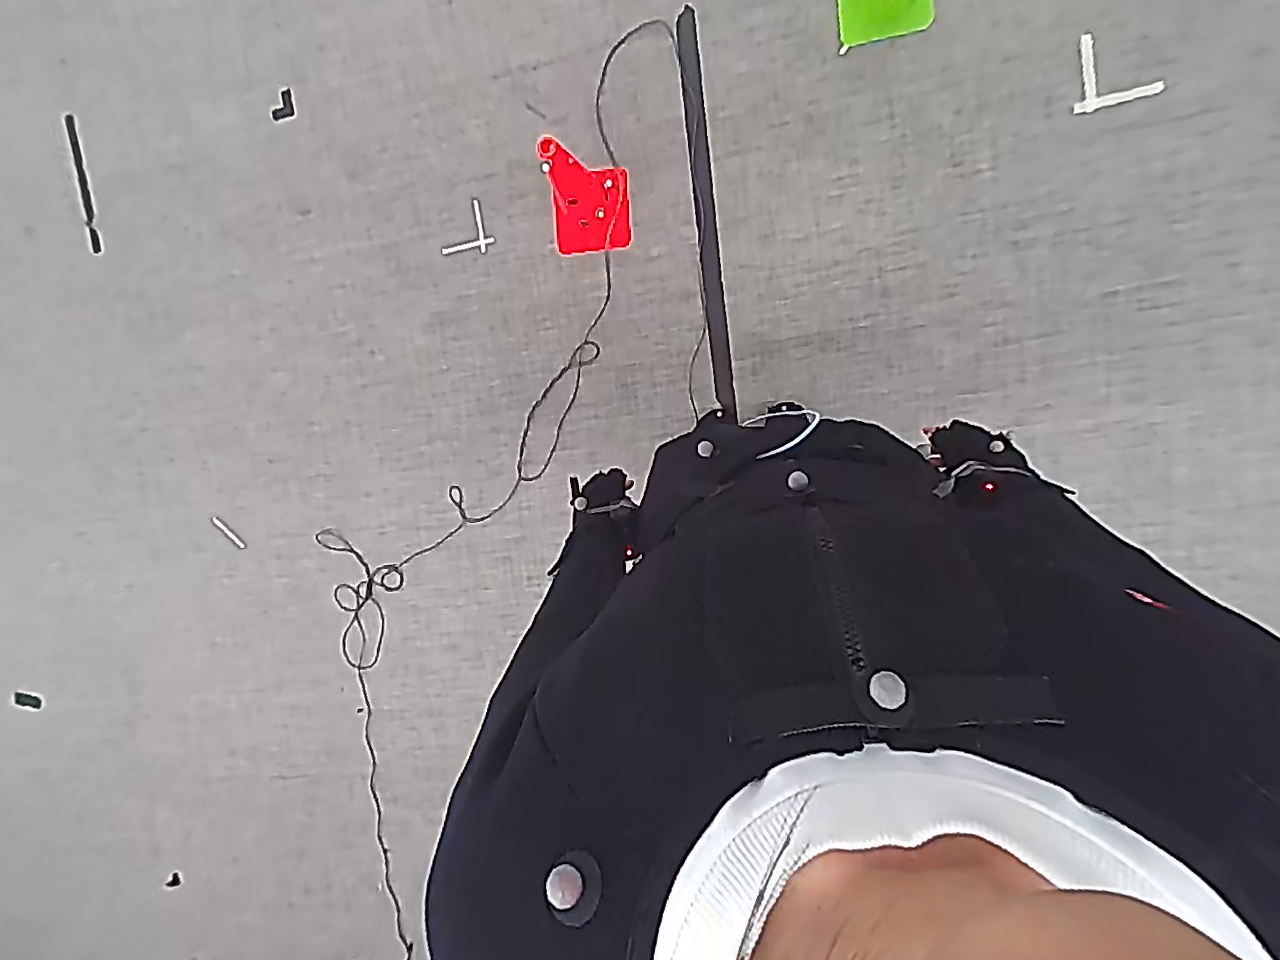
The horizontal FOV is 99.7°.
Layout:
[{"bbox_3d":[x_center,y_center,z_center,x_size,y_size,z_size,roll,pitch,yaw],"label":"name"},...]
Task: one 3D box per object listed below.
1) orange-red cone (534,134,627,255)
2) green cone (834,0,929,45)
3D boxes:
[{"bbox_3d":[-0.162,-0.672,1.227,0.199,0.360,0.198,-2,95,11],"label":"orange-red cone"},{"bbox_3d":[0.519,-1.085,1.056,0.202,0.368,0.200,-6,96,9],"label":"green cone"}]
